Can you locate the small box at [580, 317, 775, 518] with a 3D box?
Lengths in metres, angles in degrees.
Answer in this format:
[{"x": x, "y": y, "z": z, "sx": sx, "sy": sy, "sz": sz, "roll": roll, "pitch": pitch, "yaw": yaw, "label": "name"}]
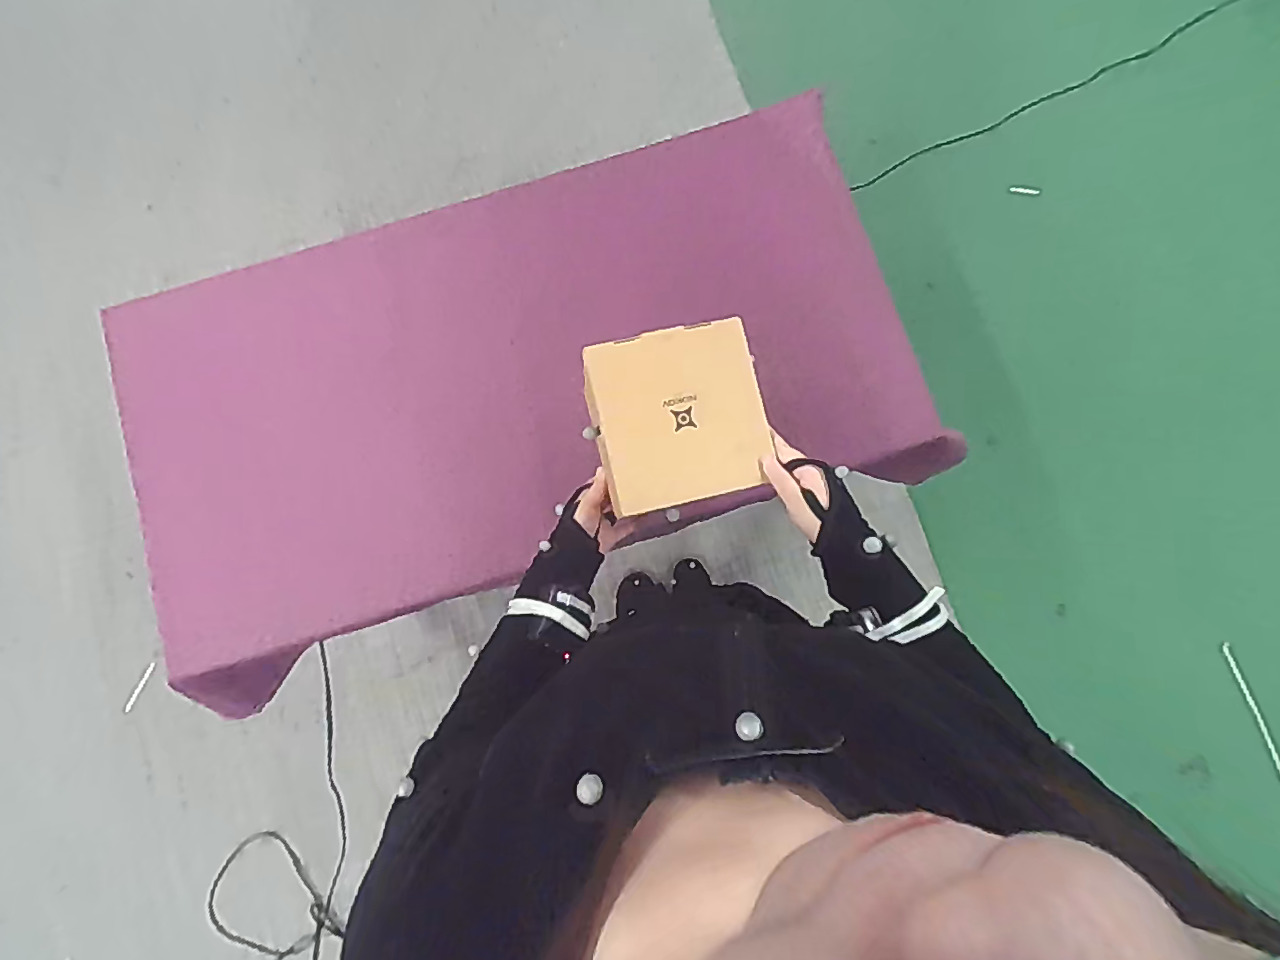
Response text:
[{"x": 0.033, "y": -0.057, "z": 0.613, "sx": 0.168, "sy": 0.176, "sz": 0.179, "roll": -13, "pitch": 85, "yaw": -5, "label": "small box"}]
